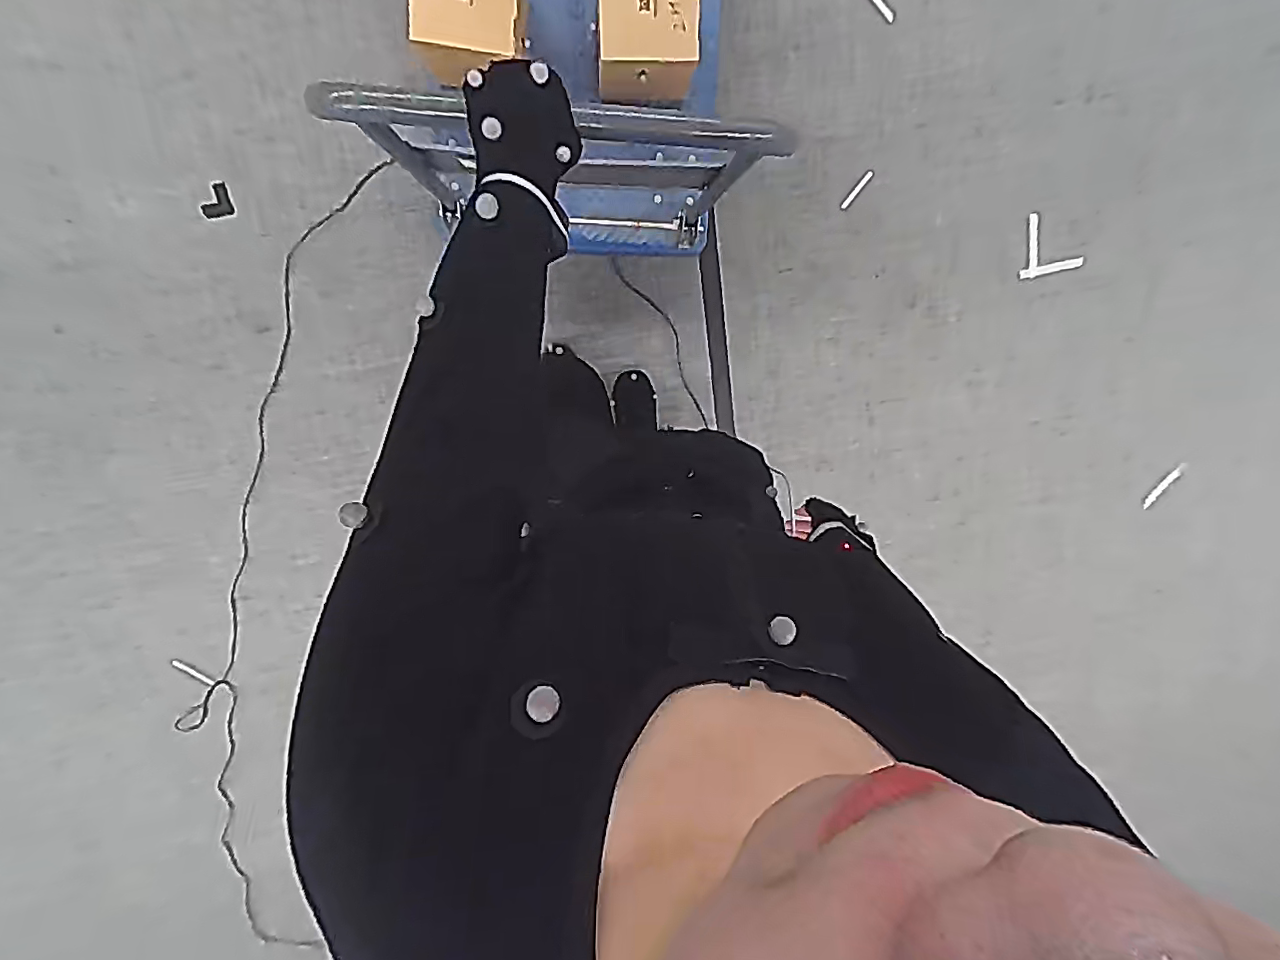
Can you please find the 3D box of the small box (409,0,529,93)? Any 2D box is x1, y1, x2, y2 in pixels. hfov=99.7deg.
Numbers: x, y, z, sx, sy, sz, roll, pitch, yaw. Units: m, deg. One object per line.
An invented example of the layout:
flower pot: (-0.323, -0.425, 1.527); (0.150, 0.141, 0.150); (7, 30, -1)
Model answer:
small box: (-0.298, -0.827, 0.966); (0.179, 0.176, 0.168); (3, 105, -8)

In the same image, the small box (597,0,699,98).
small box: (0.009, -0.828, 0.994); (0.179, 0.176, 0.168); (-2, 106, -4)
